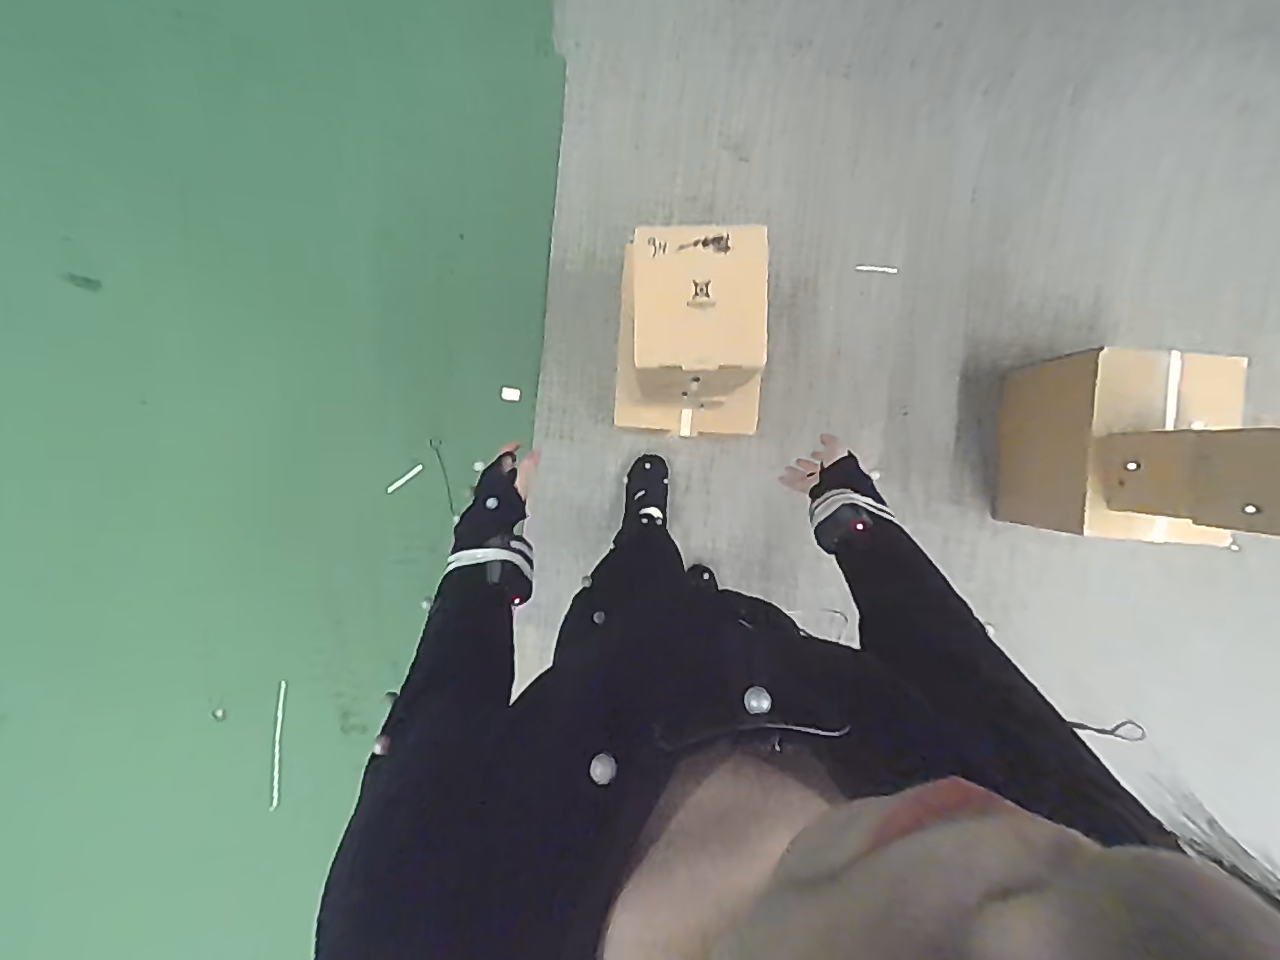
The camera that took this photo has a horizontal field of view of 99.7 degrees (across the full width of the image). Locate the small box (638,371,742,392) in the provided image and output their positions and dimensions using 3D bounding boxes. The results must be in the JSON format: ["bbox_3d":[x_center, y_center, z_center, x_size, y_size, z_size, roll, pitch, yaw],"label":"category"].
[{"bbox_3d":[0.080,-0.242,0.909,0.168,0.176,0.179,-2,92,1],"label":"small box"}]

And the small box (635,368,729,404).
[{"bbox_3d":[0.083,-0.242,1.073,0.179,0.176,0.168,3,92,2],"label":"small box"}]

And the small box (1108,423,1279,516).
[{"bbox_3d":[1.084,-0.024,1.063,0.179,0.176,0.168,2,93,2],"label":"small box"}]

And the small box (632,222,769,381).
[{"bbox_3d":[0.077,-0.233,0.744,0.168,0.176,0.179,1,93,1],"label":"small box"}]

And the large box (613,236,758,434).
[{"bbox_3d":[0.110,-0.323,1.312,0.320,0.320,0.408,4,92,1],"label":"large box"}]
